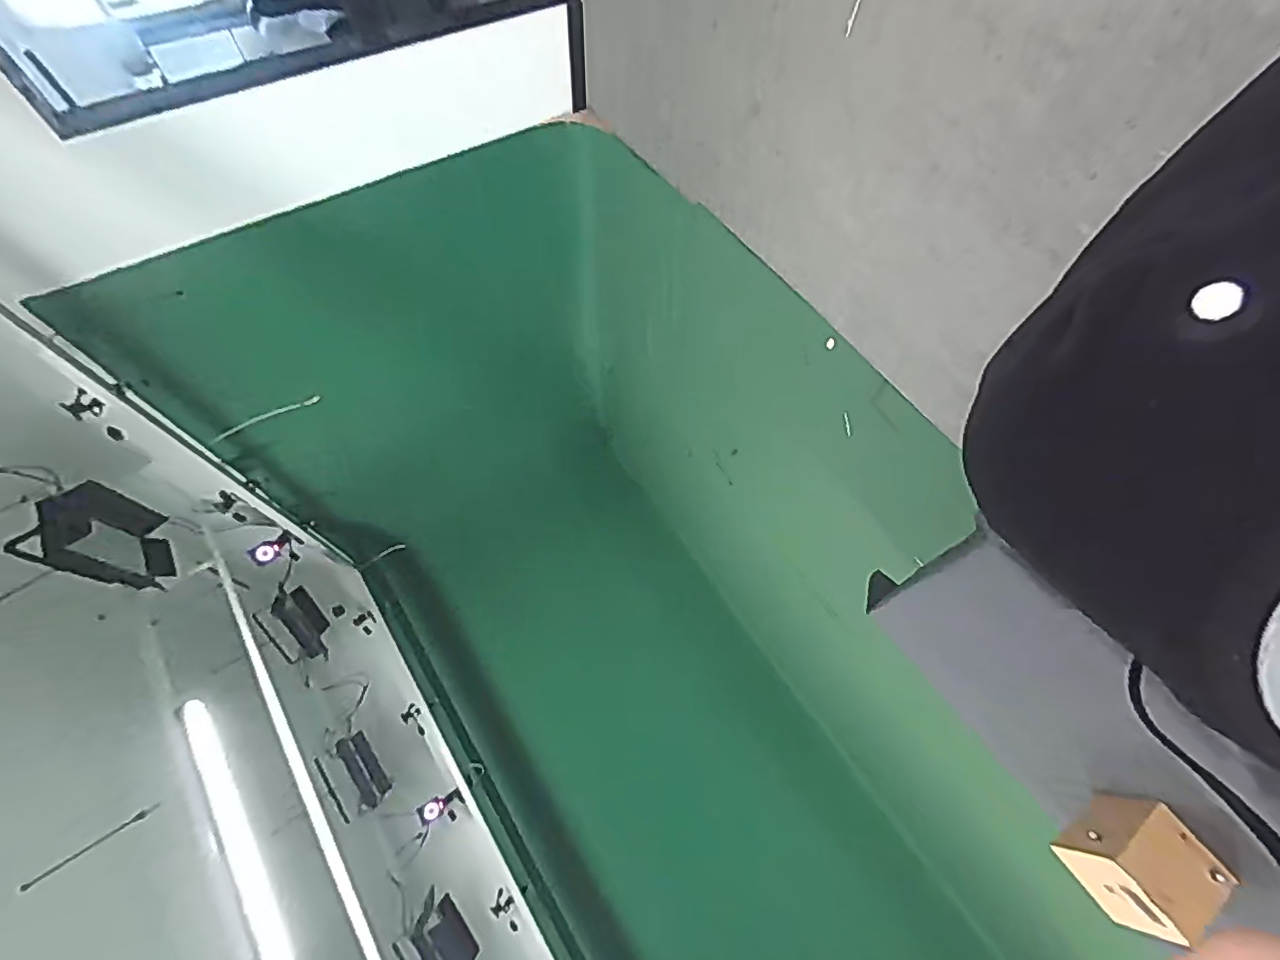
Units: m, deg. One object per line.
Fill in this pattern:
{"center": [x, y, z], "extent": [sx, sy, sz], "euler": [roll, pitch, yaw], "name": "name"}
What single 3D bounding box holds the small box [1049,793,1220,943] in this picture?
{"center": [1.001, 0.768, 1.094], "extent": [0.168, 0.176, 0.179], "euler": [52, 162, 19], "name": "small box"}
